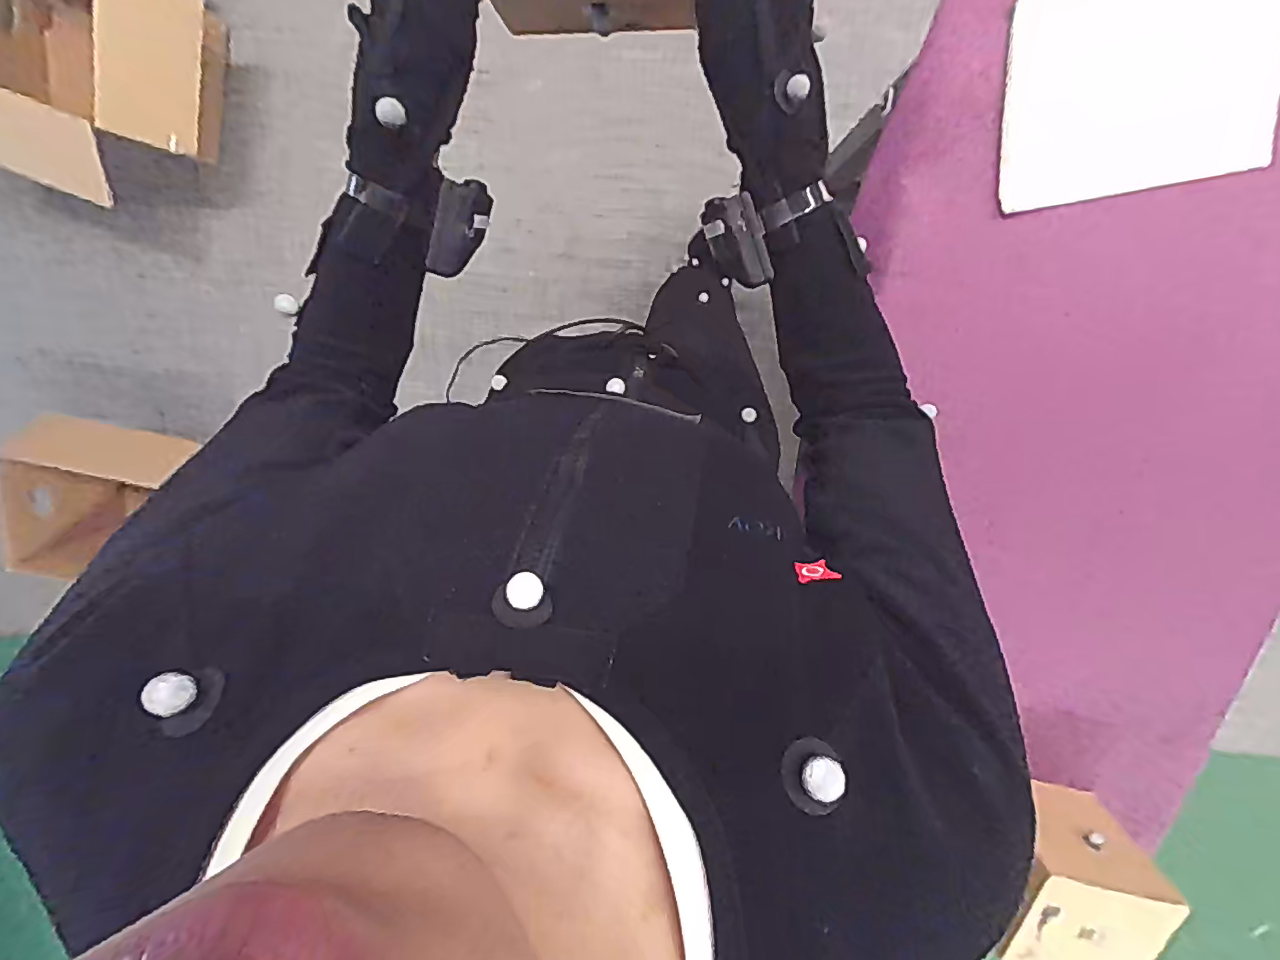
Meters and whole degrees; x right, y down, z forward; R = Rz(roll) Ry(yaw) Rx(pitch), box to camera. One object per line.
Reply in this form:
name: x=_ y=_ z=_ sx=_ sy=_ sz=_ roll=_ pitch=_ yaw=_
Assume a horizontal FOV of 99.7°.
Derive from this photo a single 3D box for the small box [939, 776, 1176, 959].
small box: x=0.574 y=0.560 z=0.773 sx=0.179 sy=0.176 sz=0.168 roll=12 pitch=107 yaw=0
